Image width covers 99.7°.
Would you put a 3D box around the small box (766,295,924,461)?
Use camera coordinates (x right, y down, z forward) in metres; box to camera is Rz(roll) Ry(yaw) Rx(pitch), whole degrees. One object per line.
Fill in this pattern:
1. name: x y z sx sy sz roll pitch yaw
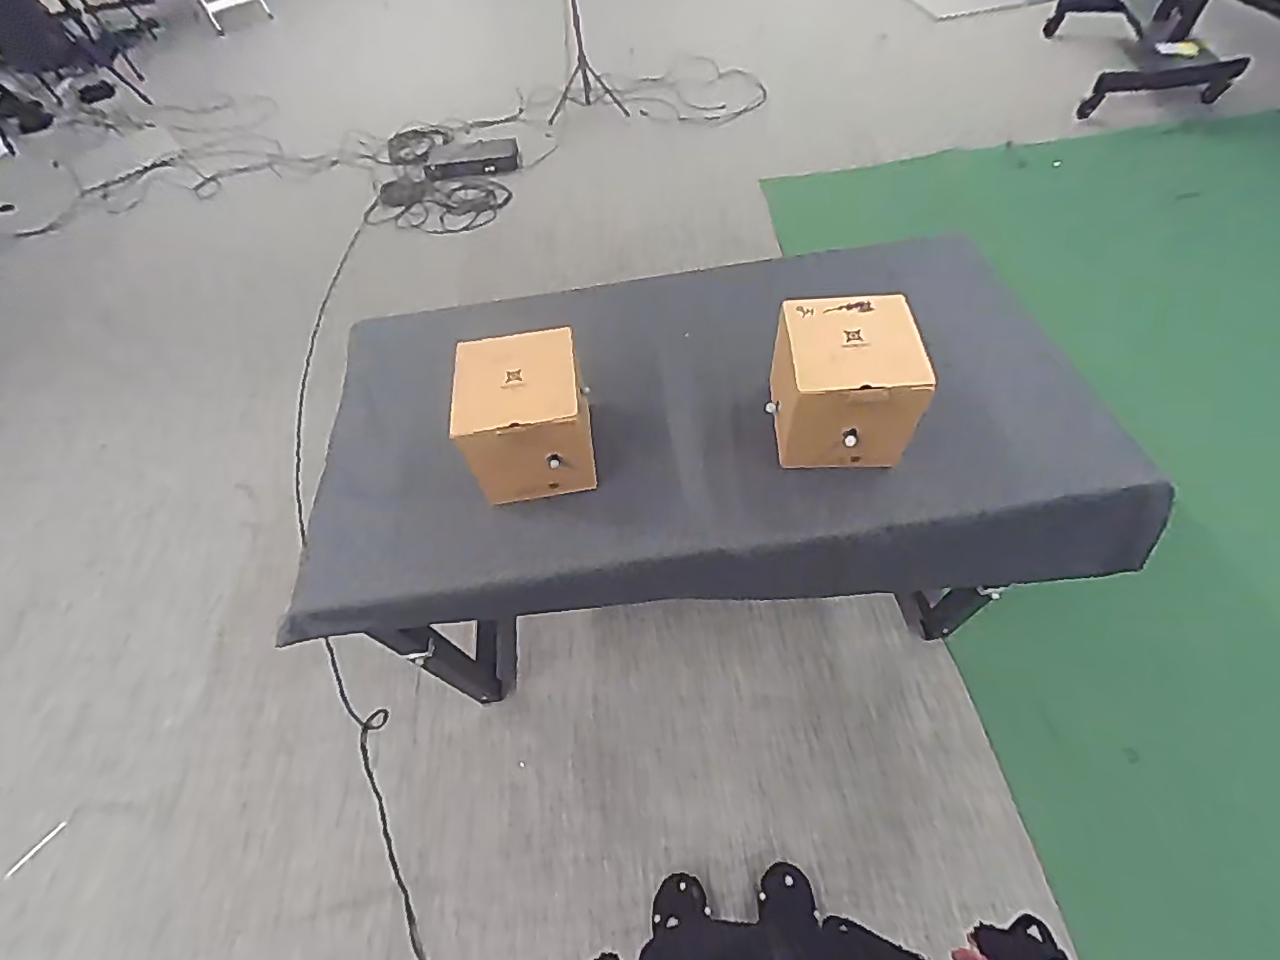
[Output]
1. small box: 0.279 -0.138 0.778 0.168 0.176 0.179 -2 58 5

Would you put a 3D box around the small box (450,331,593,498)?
1. small box: -0.167 -0.088 0.799 0.168 0.176 0.179 -9 55 -1
